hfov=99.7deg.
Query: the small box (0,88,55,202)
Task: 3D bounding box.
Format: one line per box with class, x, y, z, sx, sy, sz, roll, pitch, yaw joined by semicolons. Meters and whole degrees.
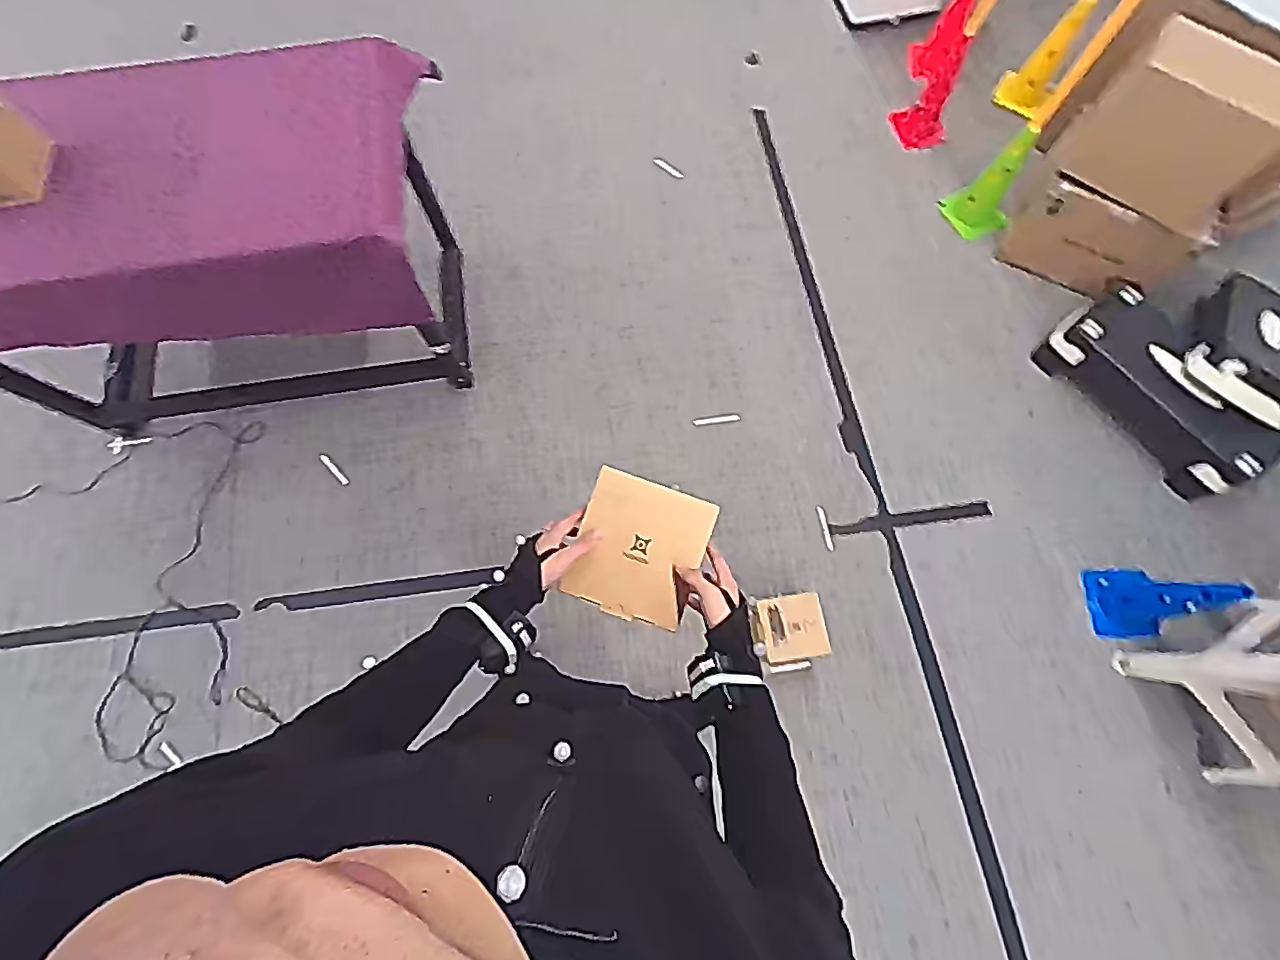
small box;-1.384;-0.709;1.118;0.168;0.176;0.179;-9;74;-2
